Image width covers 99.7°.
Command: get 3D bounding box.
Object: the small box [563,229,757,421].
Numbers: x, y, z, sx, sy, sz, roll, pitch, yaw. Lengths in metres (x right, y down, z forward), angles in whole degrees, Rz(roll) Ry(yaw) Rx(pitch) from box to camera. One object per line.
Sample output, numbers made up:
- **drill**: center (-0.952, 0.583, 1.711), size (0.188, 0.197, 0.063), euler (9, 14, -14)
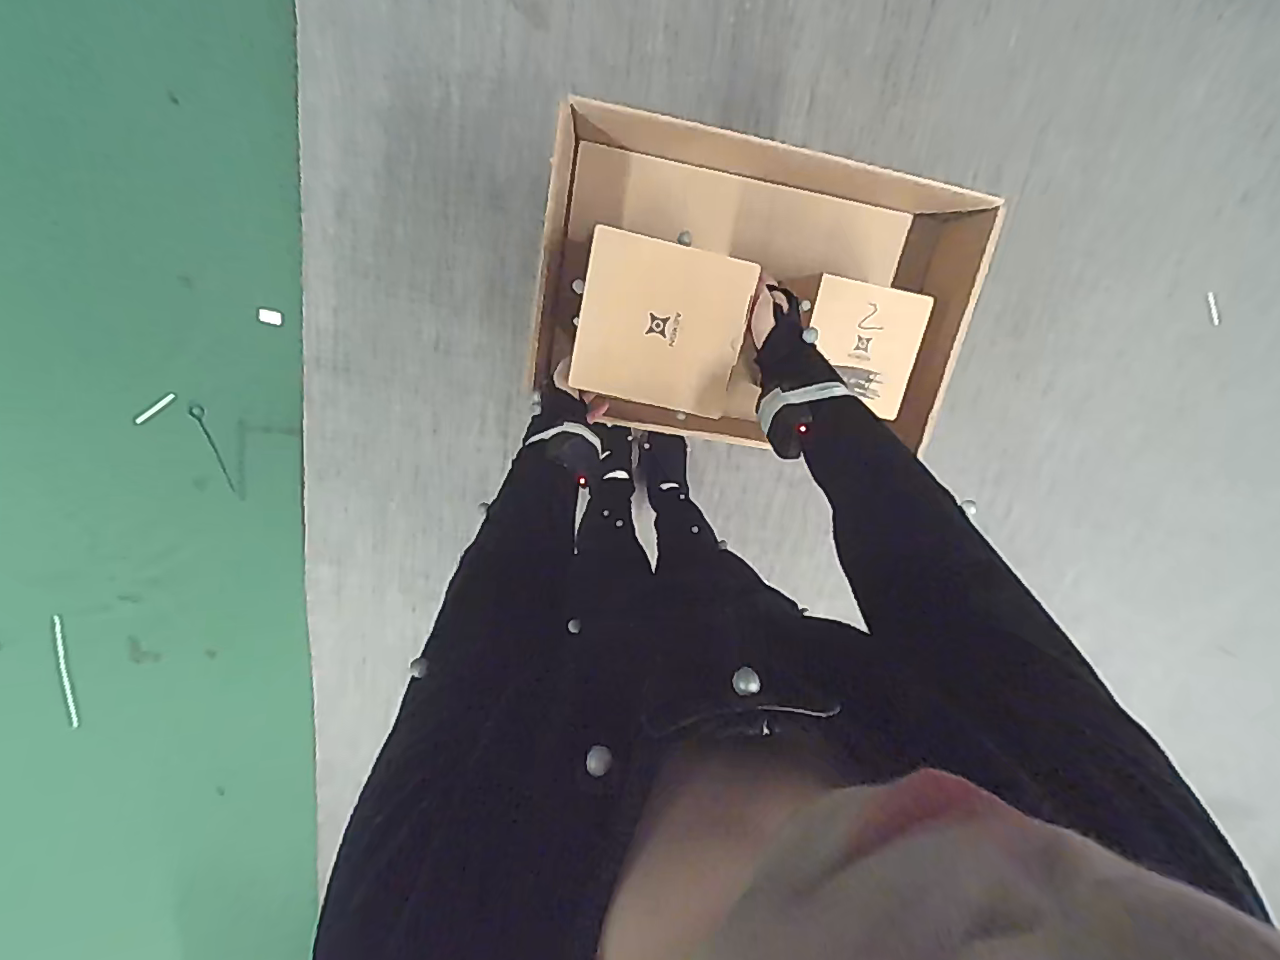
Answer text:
- **small box**: center (0.013, -0.180, 0.642), size (0.179, 0.176, 0.168), euler (11, 107, -8)
